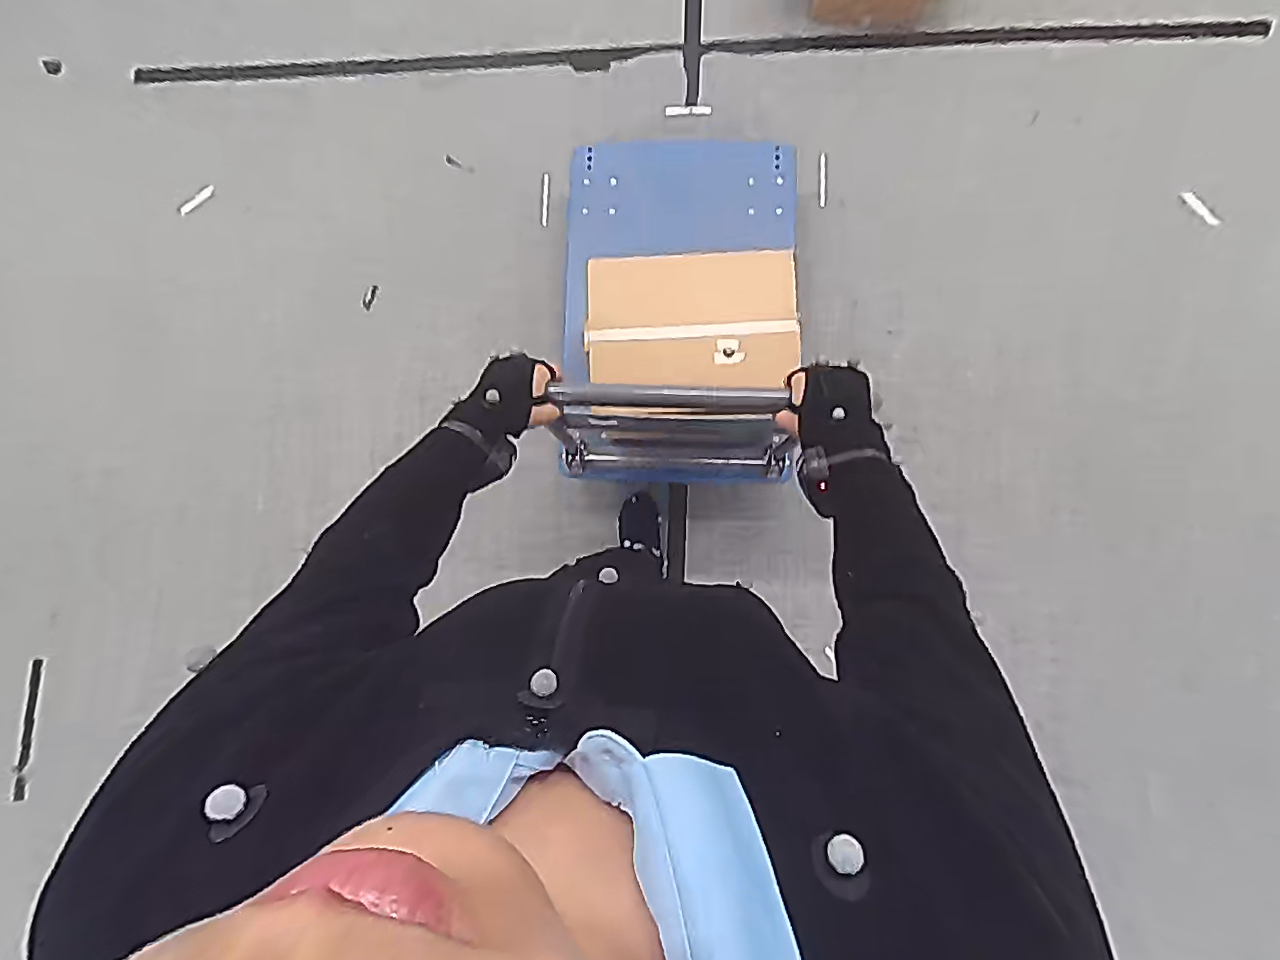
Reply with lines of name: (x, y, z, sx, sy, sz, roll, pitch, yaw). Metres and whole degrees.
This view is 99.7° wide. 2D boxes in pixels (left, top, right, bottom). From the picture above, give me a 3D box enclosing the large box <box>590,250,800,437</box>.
large box: (0.108, -0.279, 1.205, 0.408, 0.320, 0.320, -2, 86, 2)
